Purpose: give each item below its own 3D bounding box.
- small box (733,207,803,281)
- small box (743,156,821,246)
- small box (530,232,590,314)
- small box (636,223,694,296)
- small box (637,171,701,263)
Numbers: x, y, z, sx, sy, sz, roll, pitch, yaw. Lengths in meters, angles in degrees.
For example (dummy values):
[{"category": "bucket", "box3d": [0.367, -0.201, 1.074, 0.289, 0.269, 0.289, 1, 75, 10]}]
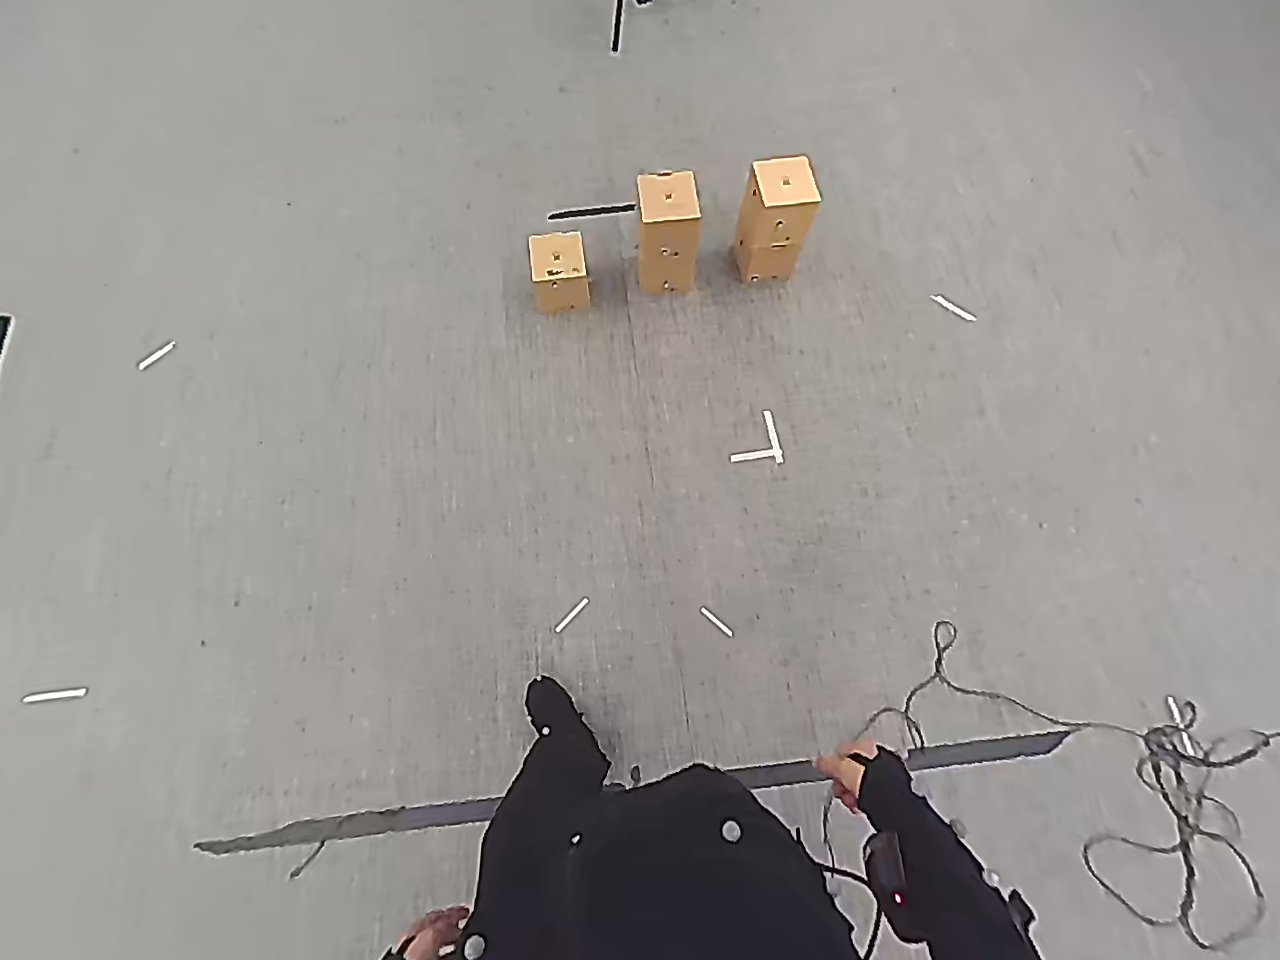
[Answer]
[{"category": "small box", "box3d": [0.413, -0.774, 1.775, 0.168, 0.176, 0.179, -9, 71, -4]}, {"category": "small box", "box3d": [0.418, -0.827, 1.621, 0.168, 0.176, 0.179, -8, 71, -4]}, {"category": "small box", "box3d": [-0.253, -0.658, 1.730, 0.168, 0.176, 0.179, -7, 71, -3]}, {"category": "small box", "box3d": [0.077, -0.726, 1.754, 0.168, 0.176, 0.179, -6, 72, -2]}, {"category": "small box", "box3d": [0.080, -0.773, 1.597, 0.168, 0.176, 0.179, -6, 71, -2]}]
